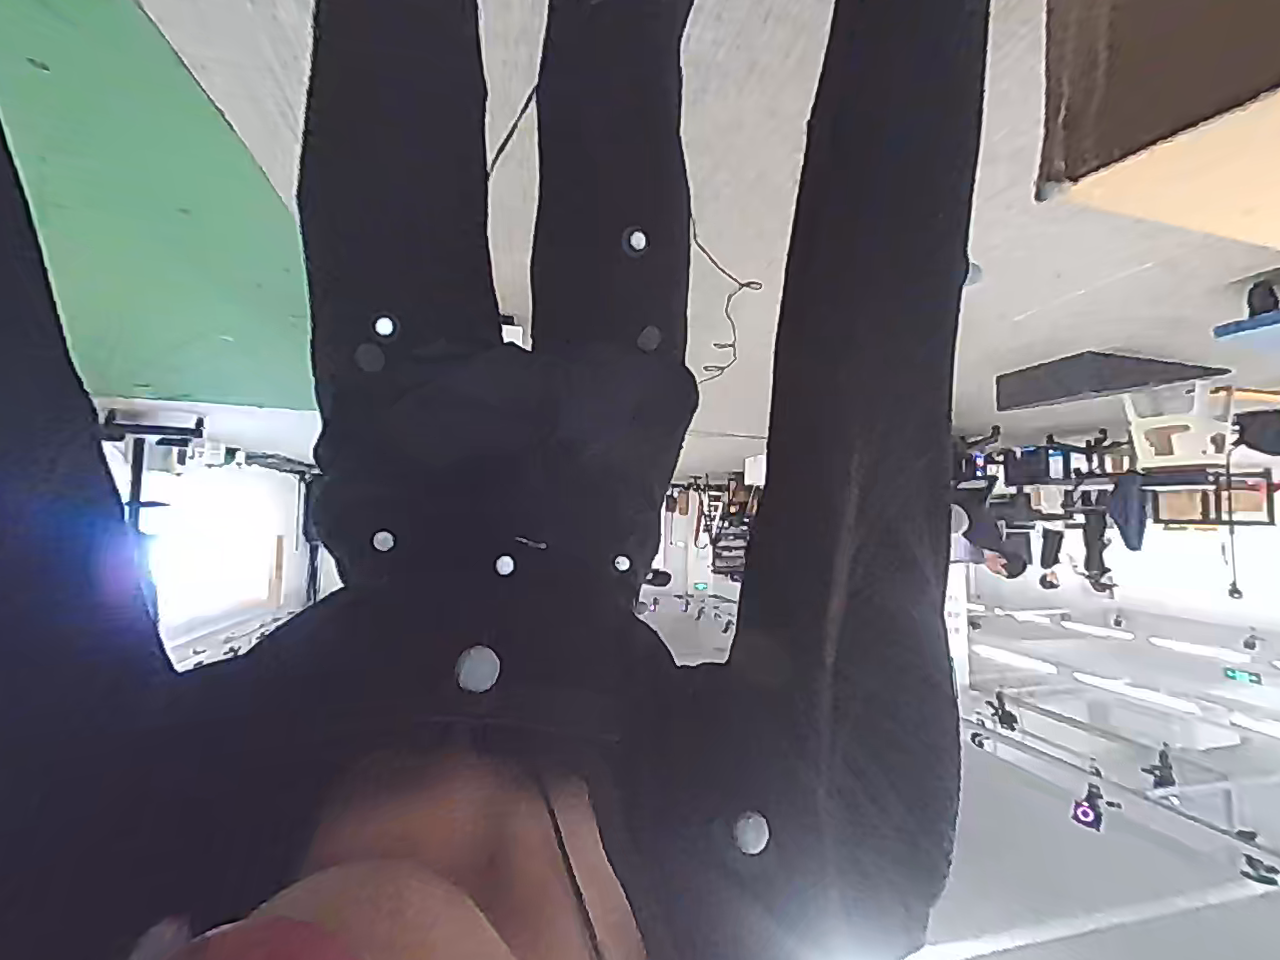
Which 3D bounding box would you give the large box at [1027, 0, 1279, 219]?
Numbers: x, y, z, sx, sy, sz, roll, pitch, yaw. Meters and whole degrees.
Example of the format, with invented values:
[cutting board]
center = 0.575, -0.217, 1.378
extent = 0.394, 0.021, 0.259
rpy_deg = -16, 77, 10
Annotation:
[large box]
center = 0.481, -0.340, 0.242
extent = 0.408, 0.320, 0.320
rpy_deg = 3, 180, -15
